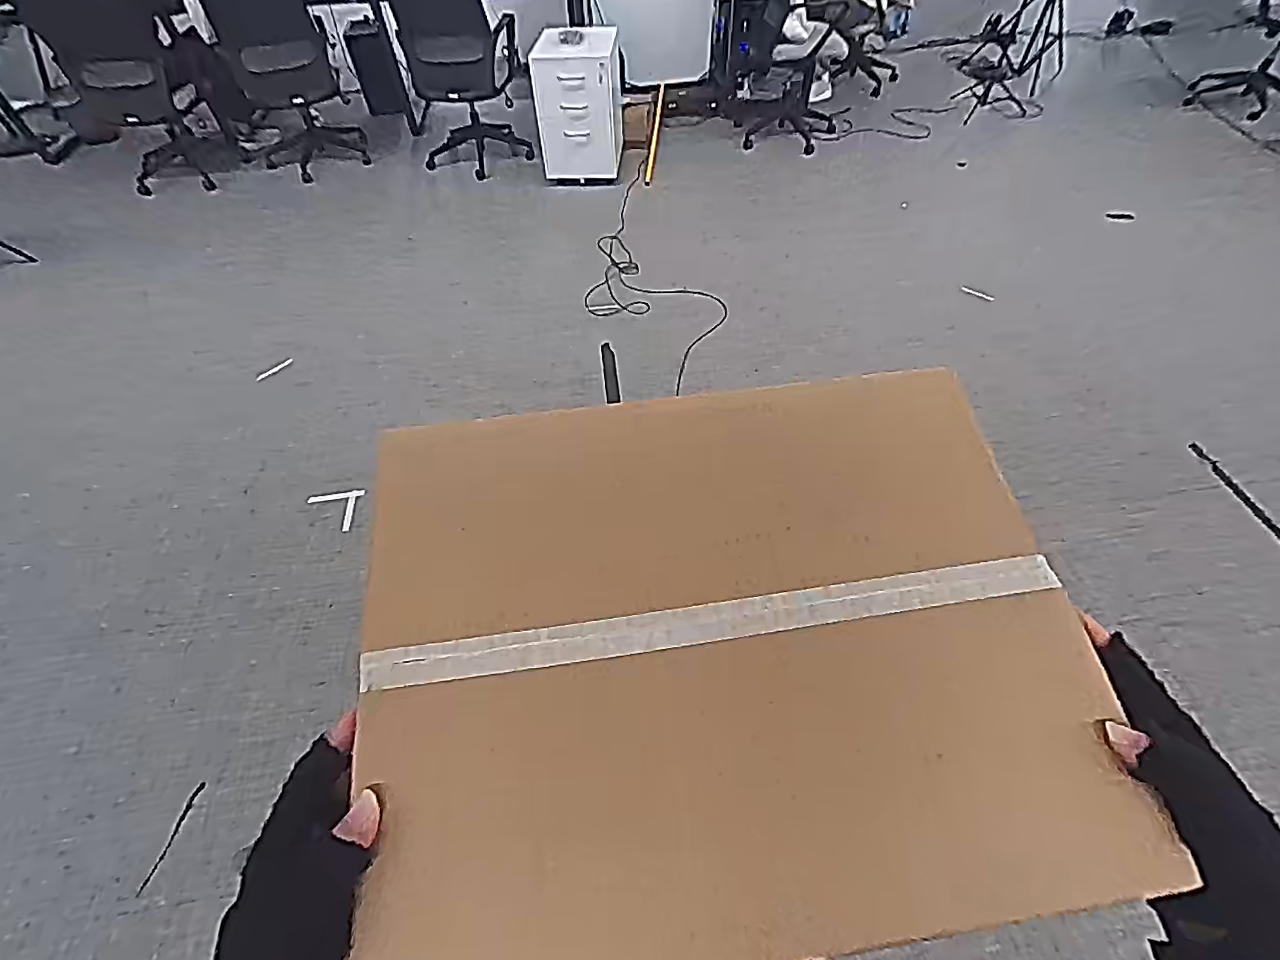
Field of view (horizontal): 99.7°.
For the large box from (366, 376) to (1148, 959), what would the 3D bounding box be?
[{"bbox_3d":[0.046,0.149,0.459,0.408,0.320,0.320,-8,64,-4],"label":"large box"}]
